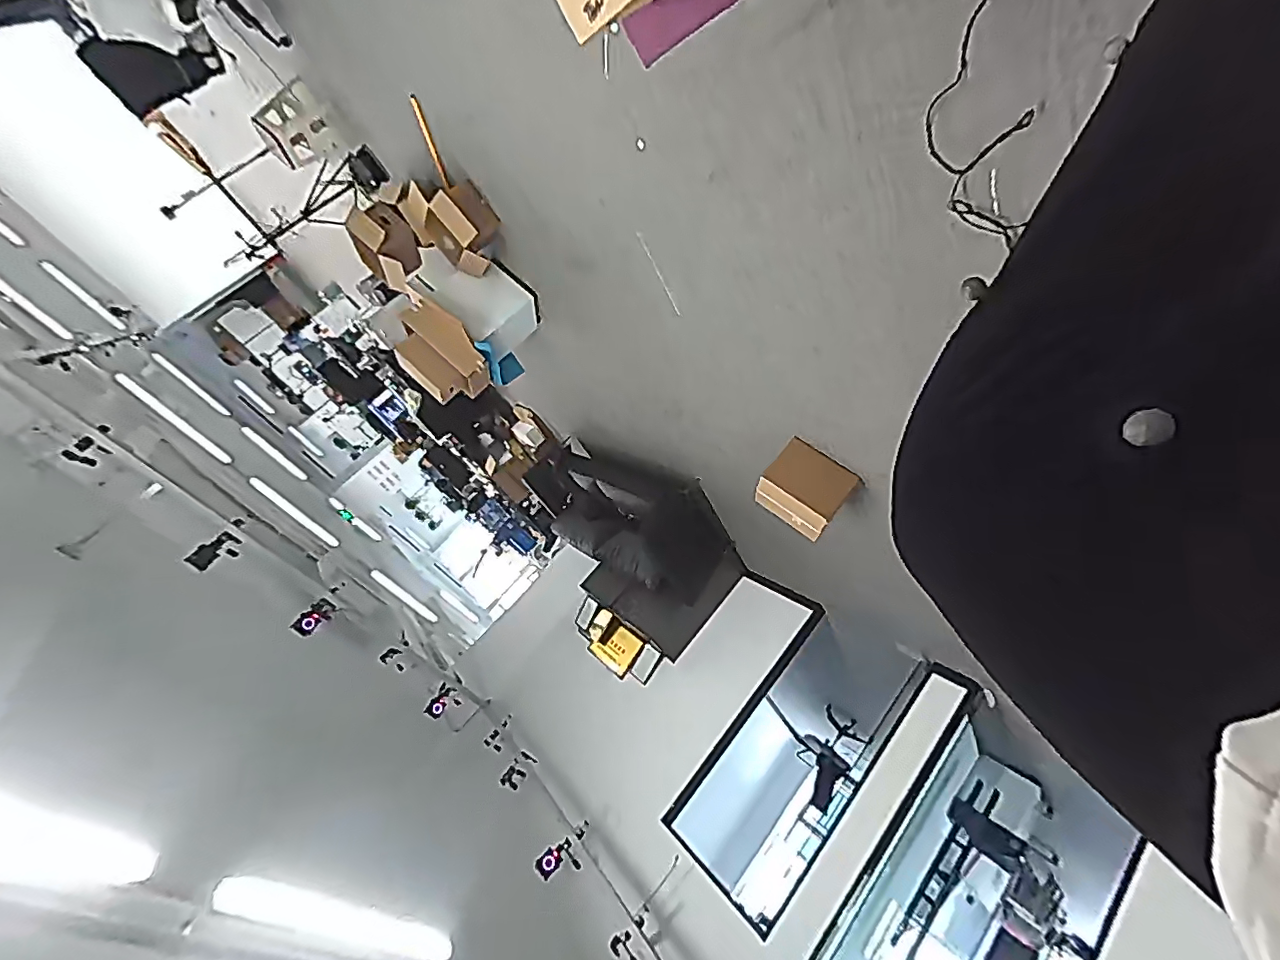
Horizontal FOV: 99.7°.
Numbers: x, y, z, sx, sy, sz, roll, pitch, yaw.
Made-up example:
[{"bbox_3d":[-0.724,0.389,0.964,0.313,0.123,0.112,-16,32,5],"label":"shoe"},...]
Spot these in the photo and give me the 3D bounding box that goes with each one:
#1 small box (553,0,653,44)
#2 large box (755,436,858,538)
[{"bbox_3d":[-0.035,-0.758,0.739,0.168,0.176,0.179,21,151,52],"label":"small box"},{"bbox_3d":[0.880,0.036,2.904,0.408,0.320,0.320,36,163,20],"label":"large box"}]
